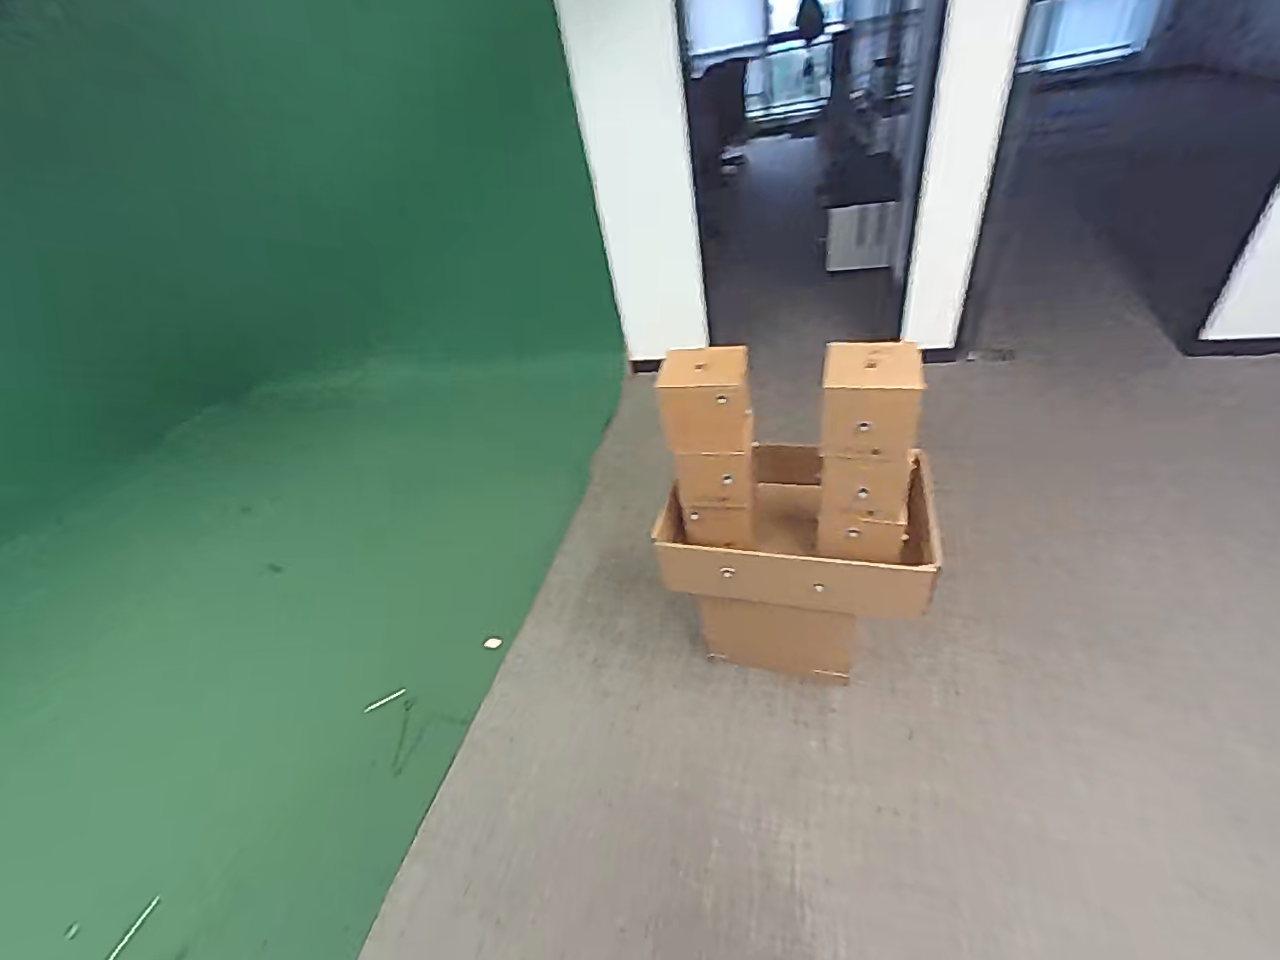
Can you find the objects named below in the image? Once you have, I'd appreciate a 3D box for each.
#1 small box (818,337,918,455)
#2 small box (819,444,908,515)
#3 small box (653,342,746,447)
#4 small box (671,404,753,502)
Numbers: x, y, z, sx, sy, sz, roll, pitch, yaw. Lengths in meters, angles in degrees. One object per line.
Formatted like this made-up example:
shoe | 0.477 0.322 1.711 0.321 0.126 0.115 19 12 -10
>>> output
small box | 0.449 -0.167 1.074 0.168 0.176 0.179 5 43 20
small box | 0.485 -0.044 1.179 0.168 0.176 0.179 5 44 20
small box | 0.137 -0.183 1.184 0.179 0.176 0.168 0 42 14
small box | 0.178 -0.061 1.284 0.168 0.176 0.179 1 41 15
